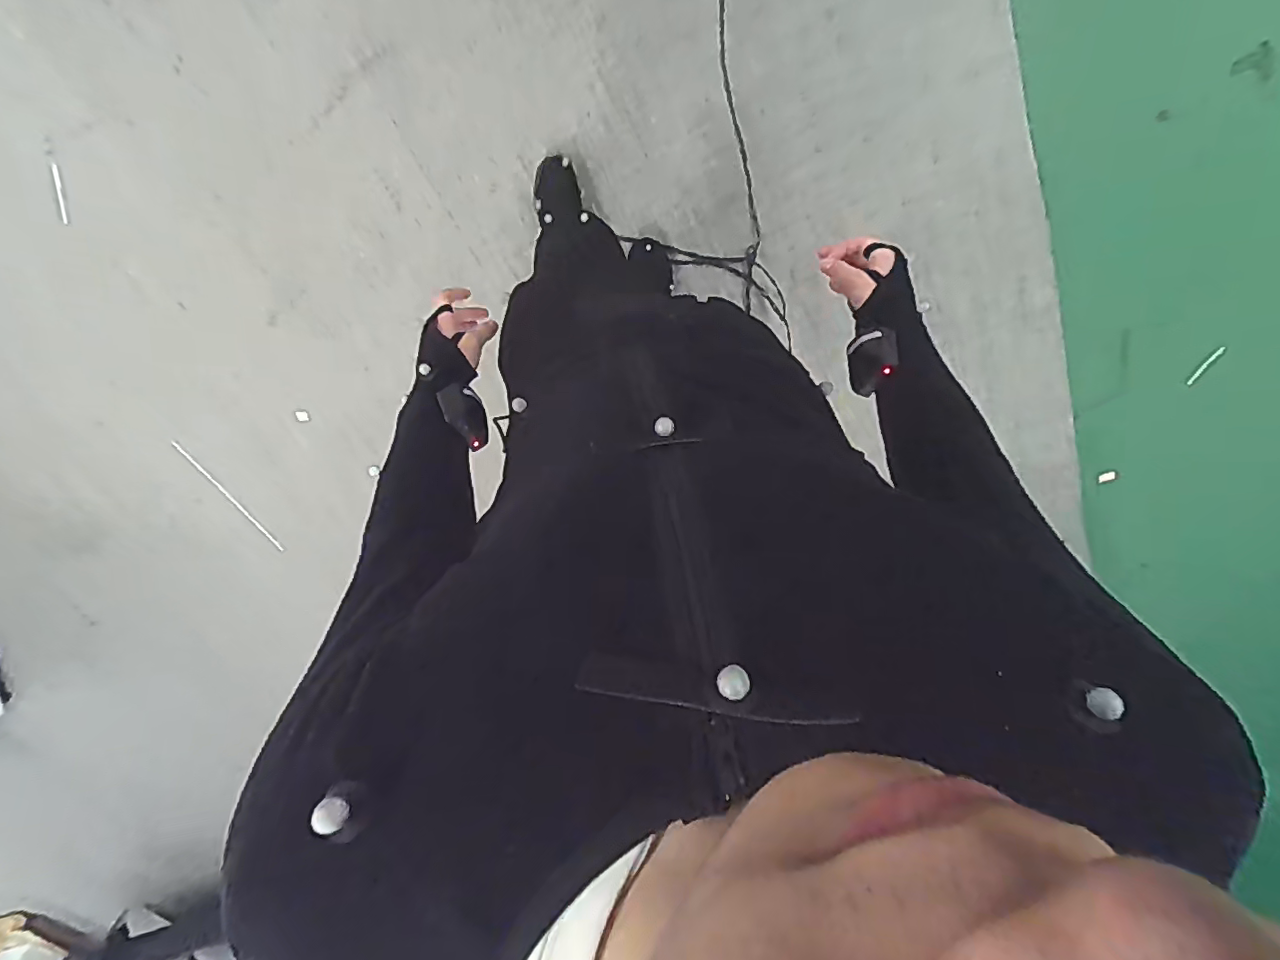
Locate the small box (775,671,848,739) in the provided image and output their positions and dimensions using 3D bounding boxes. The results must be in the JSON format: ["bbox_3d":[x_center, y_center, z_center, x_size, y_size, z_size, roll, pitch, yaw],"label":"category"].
[{"bbox_3d":[0.493,0.674,1.525,0.168,0.176,0.179,-19,115,13],"label":"small box"}]
